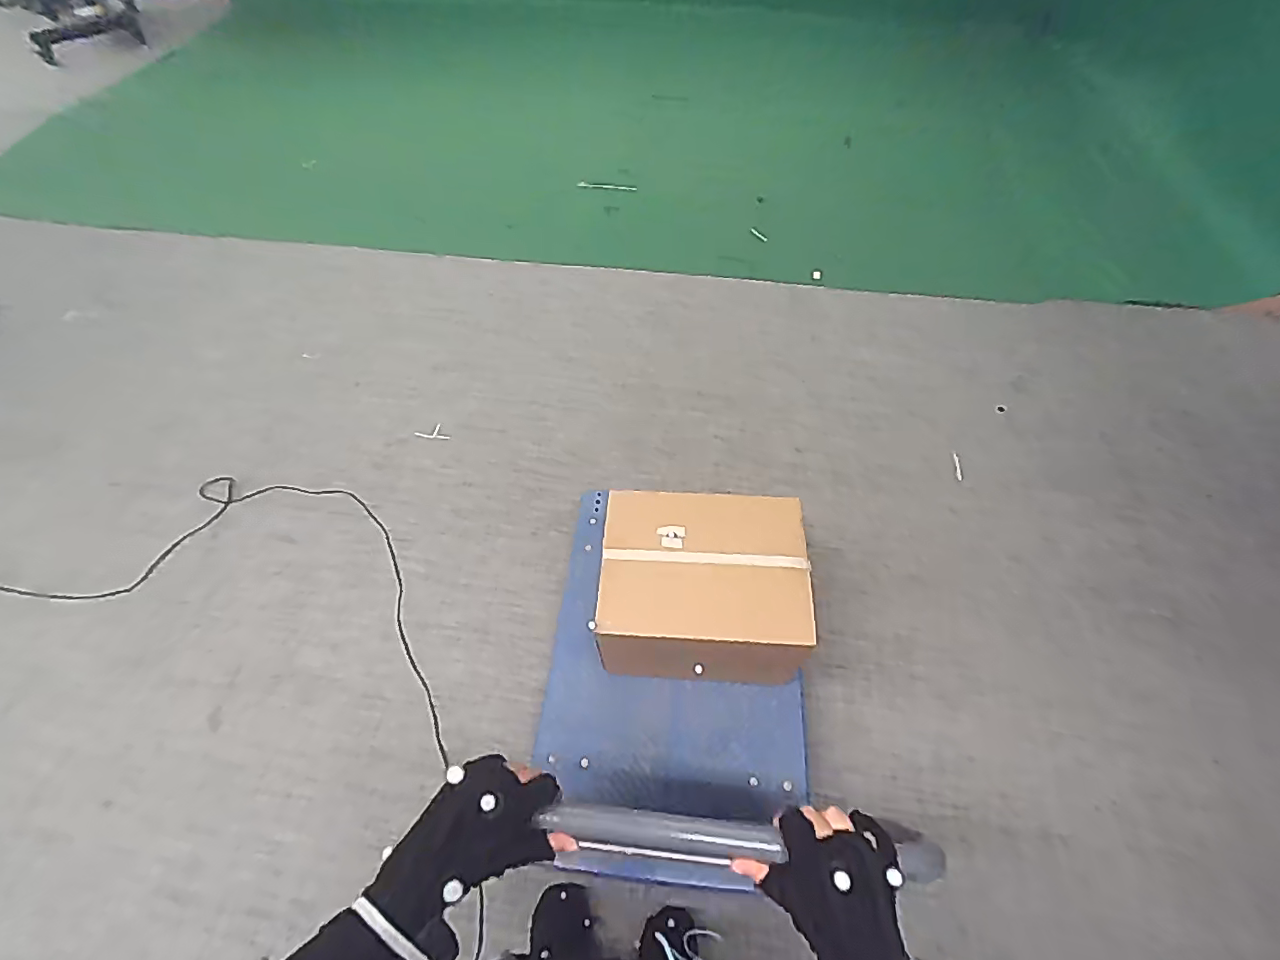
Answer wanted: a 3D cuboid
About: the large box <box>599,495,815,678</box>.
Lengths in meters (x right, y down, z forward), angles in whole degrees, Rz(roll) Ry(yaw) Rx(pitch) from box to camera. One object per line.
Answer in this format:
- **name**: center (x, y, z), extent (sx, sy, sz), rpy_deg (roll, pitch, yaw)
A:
- **large box**: center (0.133, 0.243, 1.193), extent (0.408, 0.320, 0.320), rpy_deg (1, 56, 3)
